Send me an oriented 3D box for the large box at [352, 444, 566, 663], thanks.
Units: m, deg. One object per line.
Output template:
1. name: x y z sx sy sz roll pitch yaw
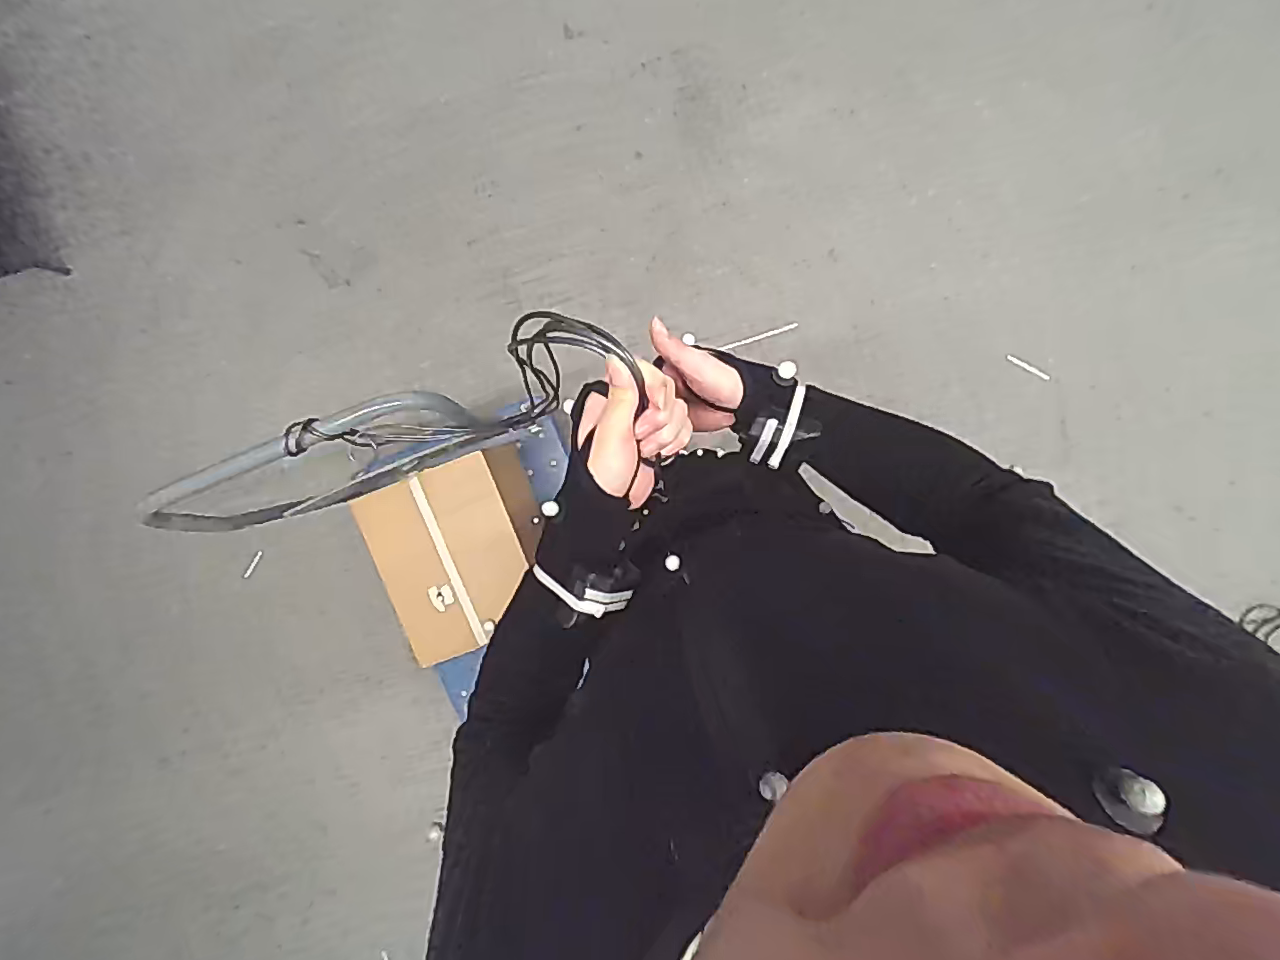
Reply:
1. large box: -0.408 0.153 1.317 0.320 0.320 0.408 -21 95 2
